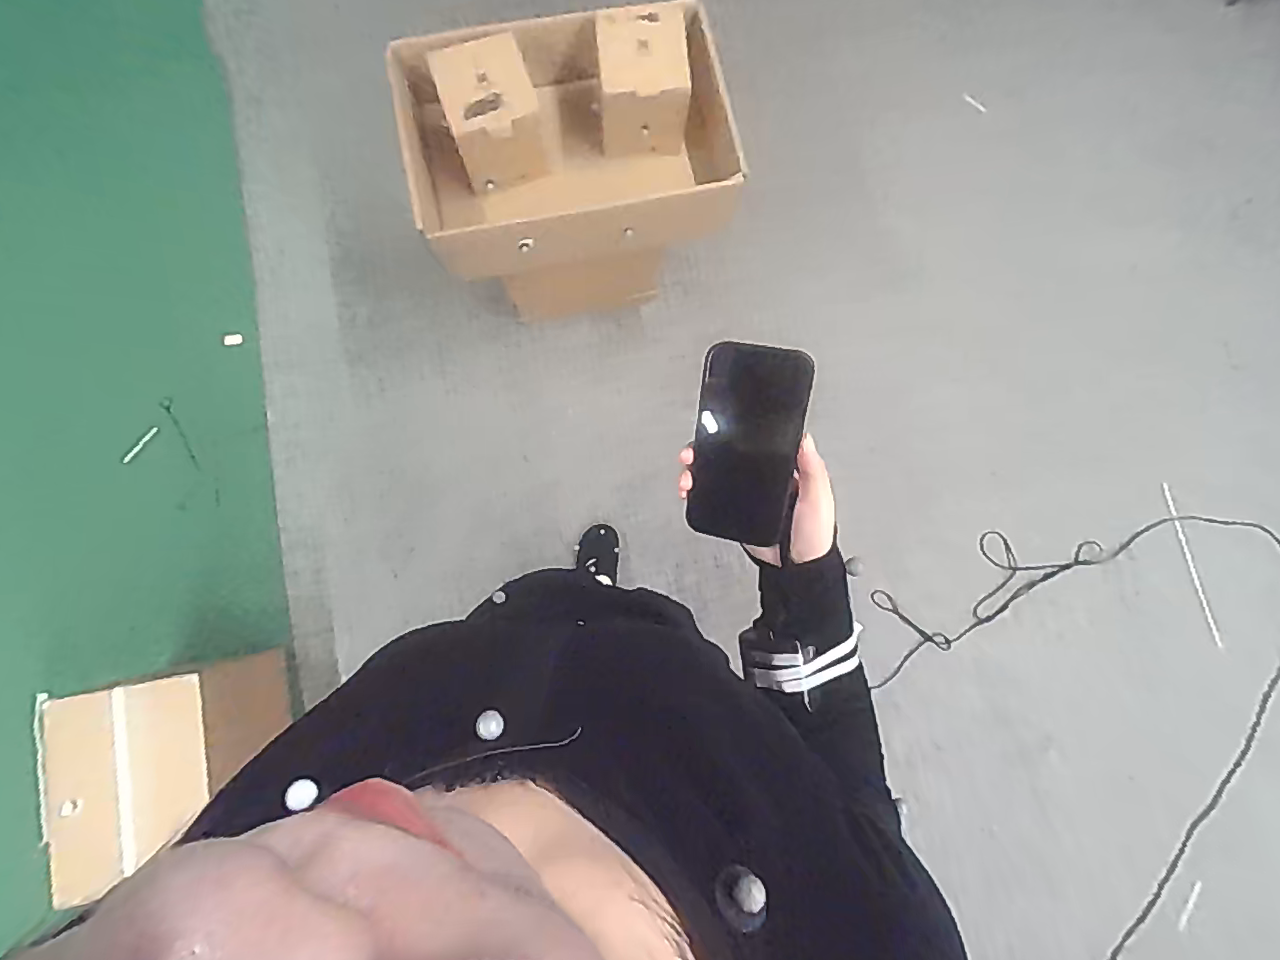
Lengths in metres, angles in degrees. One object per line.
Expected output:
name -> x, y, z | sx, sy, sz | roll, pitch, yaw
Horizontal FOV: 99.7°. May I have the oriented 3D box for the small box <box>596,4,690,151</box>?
small box -> 0.004, -0.782, 1.070 | 0.168, 0.176, 0.179 | -5, 84, -3
